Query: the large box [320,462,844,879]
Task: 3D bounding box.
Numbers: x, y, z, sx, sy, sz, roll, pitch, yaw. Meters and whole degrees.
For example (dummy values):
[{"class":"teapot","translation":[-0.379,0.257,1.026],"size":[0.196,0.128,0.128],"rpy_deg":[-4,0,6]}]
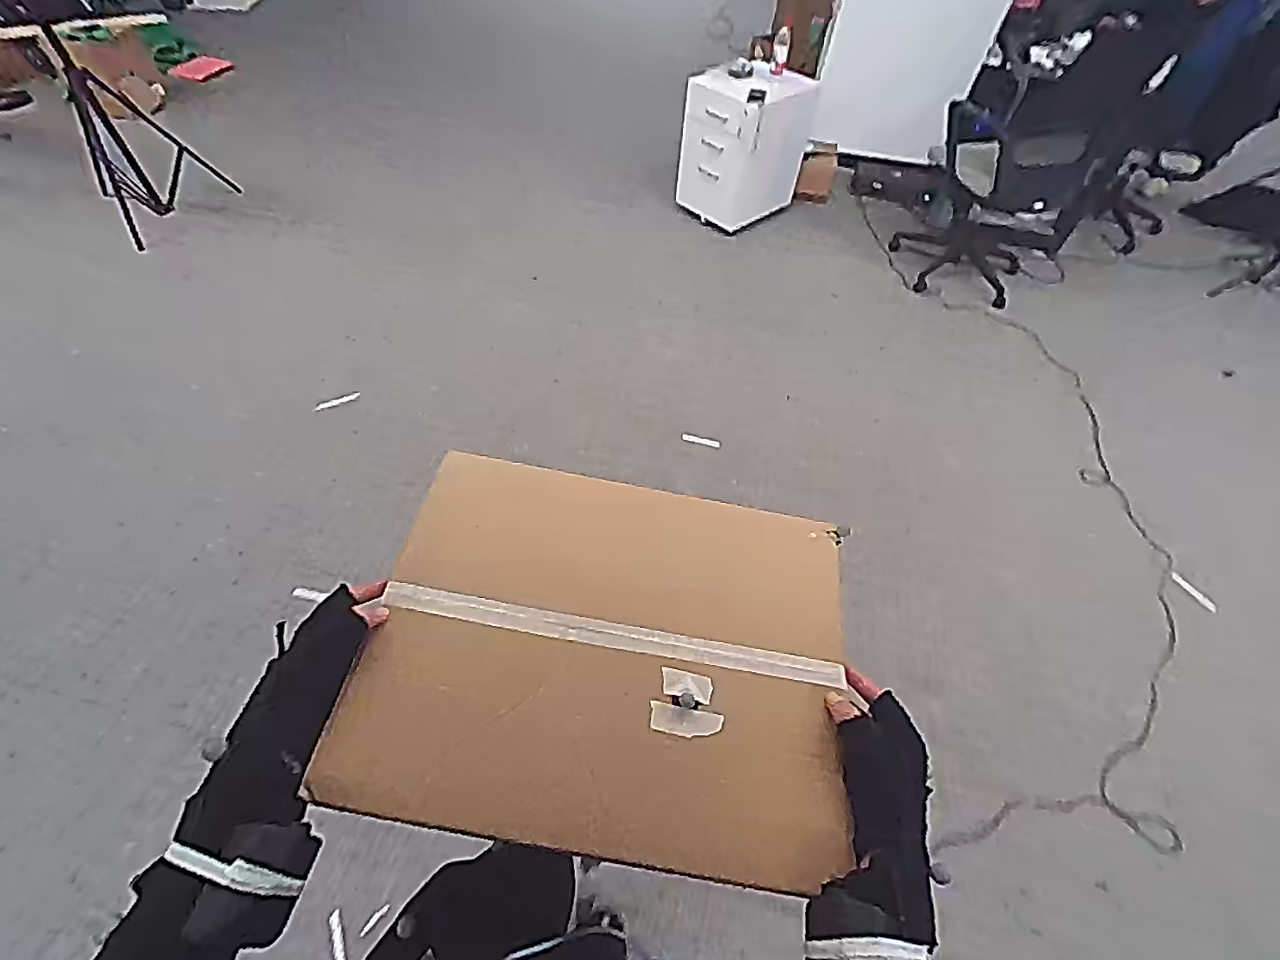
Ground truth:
[{"class":"large box","translation":[-0.041,0.219,0.604],"size":[0.408,0.320,0.320],"rpy_deg":[11,57,-1]}]
